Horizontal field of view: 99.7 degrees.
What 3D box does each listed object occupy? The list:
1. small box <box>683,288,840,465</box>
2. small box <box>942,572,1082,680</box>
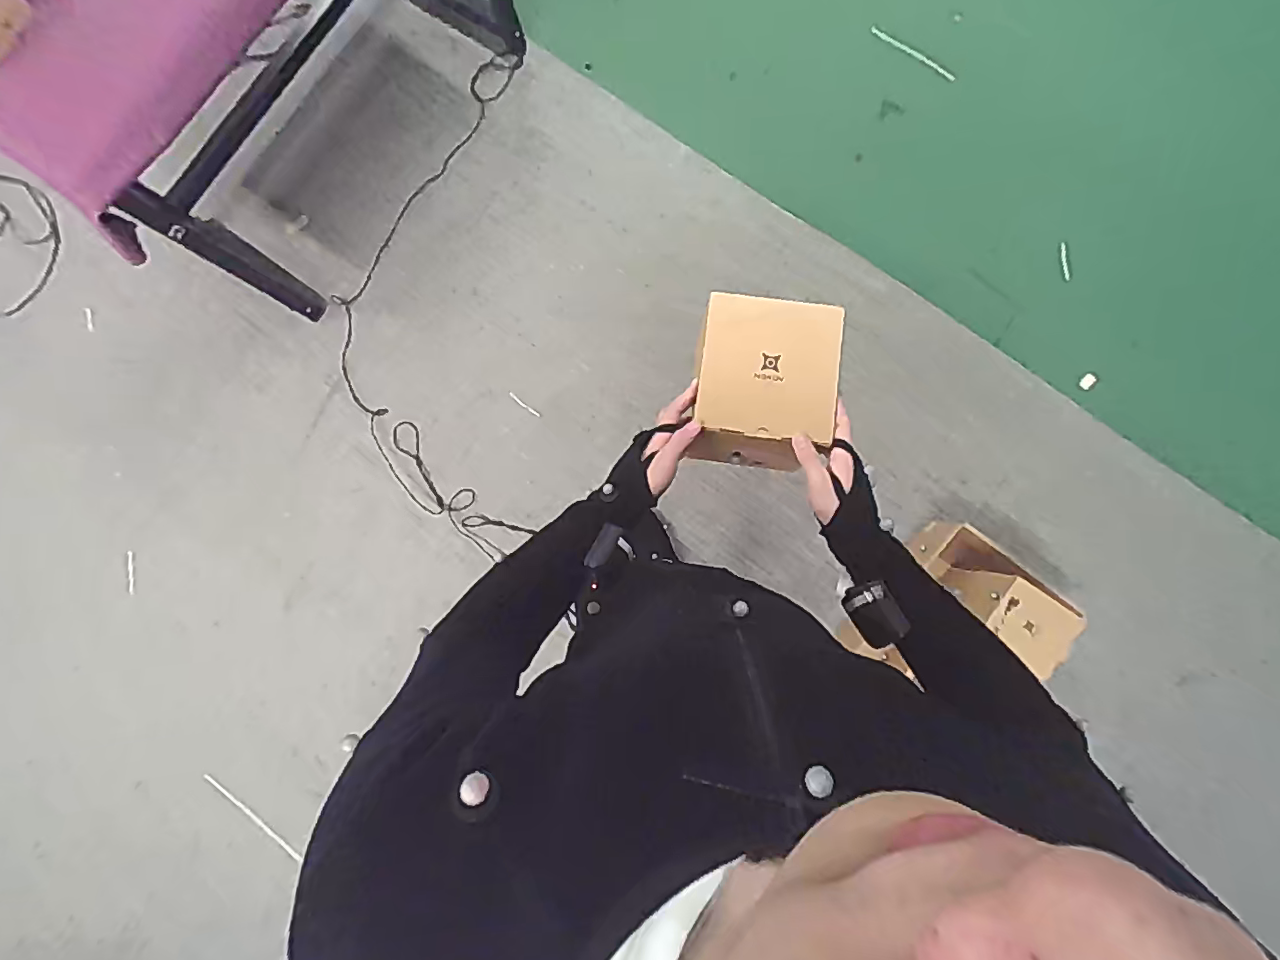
[{"bbox_3d":[0.151,-0.127,0.720,0.168,0.176,0.179,7,83,2],"label":"small box"},{"bbox_3d":[0.873,0.334,1.285,0.179,0.176,0.168,36,88,5],"label":"small box"}]
